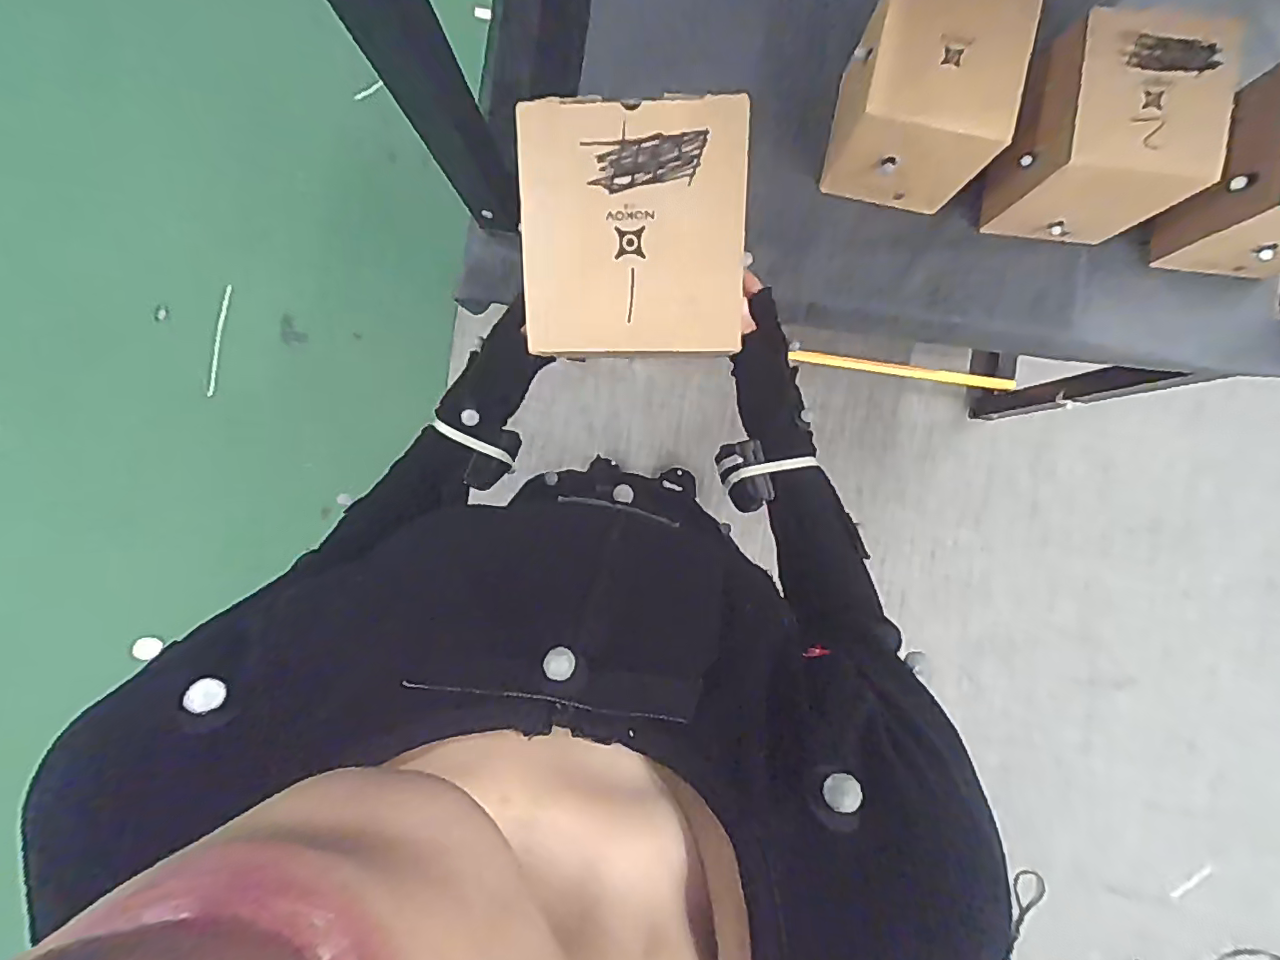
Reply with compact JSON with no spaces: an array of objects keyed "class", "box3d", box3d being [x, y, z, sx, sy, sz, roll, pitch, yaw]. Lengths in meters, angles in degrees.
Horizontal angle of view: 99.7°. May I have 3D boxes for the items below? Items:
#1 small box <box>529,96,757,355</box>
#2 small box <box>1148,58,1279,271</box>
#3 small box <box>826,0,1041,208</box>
[{"class":"small box","box3d":[0.004,-0.202,0.477,0.168,0.176,0.179,1,103,3]},{"class":"small box","box3d":[0.785,-0.377,0.665,0.168,0.176,0.179,7,90,1]},{"class":"small box","box3d":[0.348,-0.474,0.677,0.168,0.176,0.179,12,90,1]}]
